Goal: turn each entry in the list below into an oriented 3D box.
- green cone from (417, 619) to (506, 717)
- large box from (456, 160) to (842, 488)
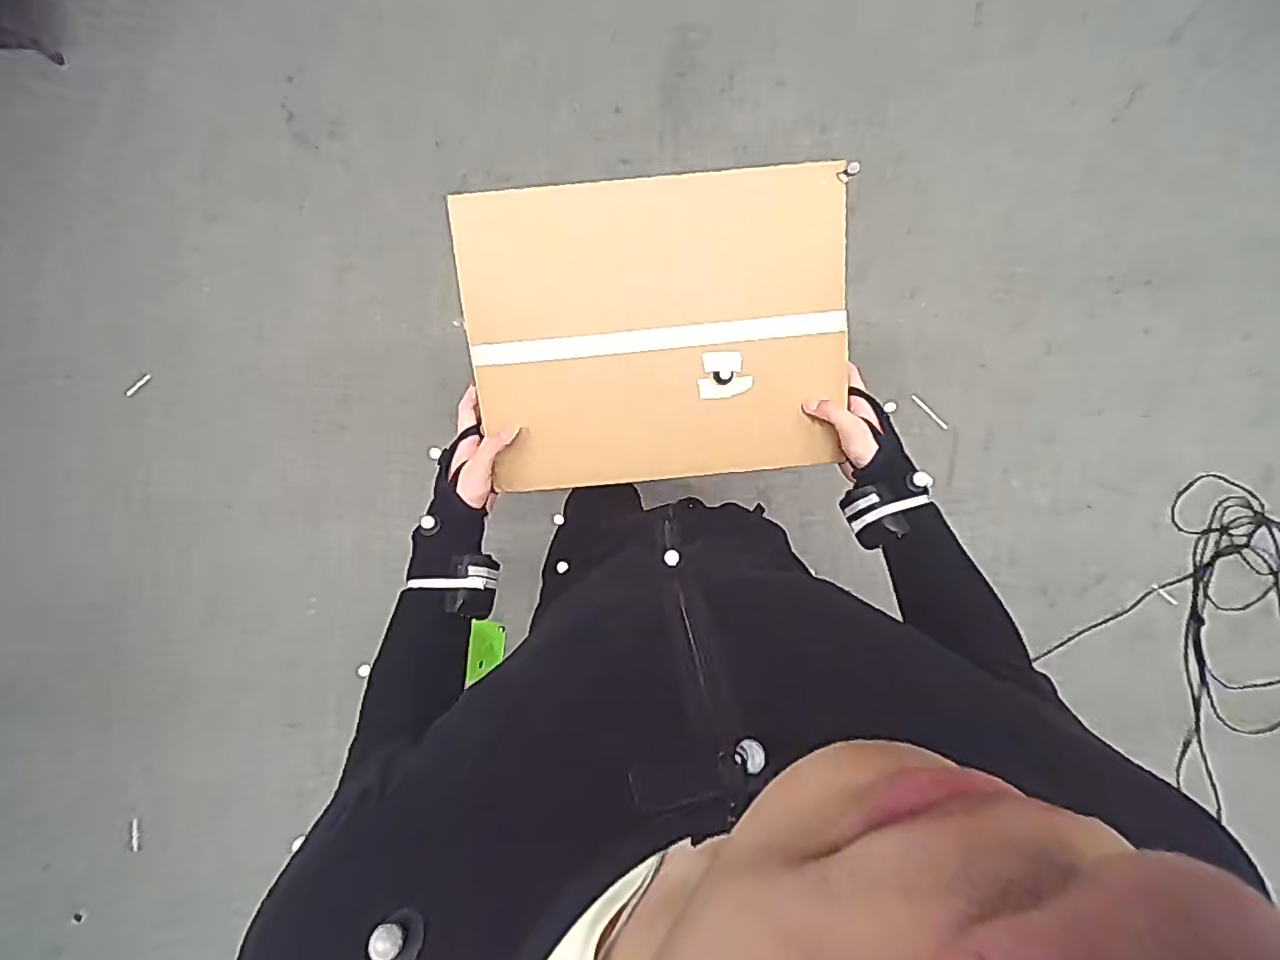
[{"bbox_3d":[-0.517,0.539,1.480,0.200,0.368,0.202,6,93,1],"label":"green cone"},{"bbox_3d":[0.015,-0.194,0.736,0.408,0.320,0.320,-6,104,-1],"label":"large box"}]
